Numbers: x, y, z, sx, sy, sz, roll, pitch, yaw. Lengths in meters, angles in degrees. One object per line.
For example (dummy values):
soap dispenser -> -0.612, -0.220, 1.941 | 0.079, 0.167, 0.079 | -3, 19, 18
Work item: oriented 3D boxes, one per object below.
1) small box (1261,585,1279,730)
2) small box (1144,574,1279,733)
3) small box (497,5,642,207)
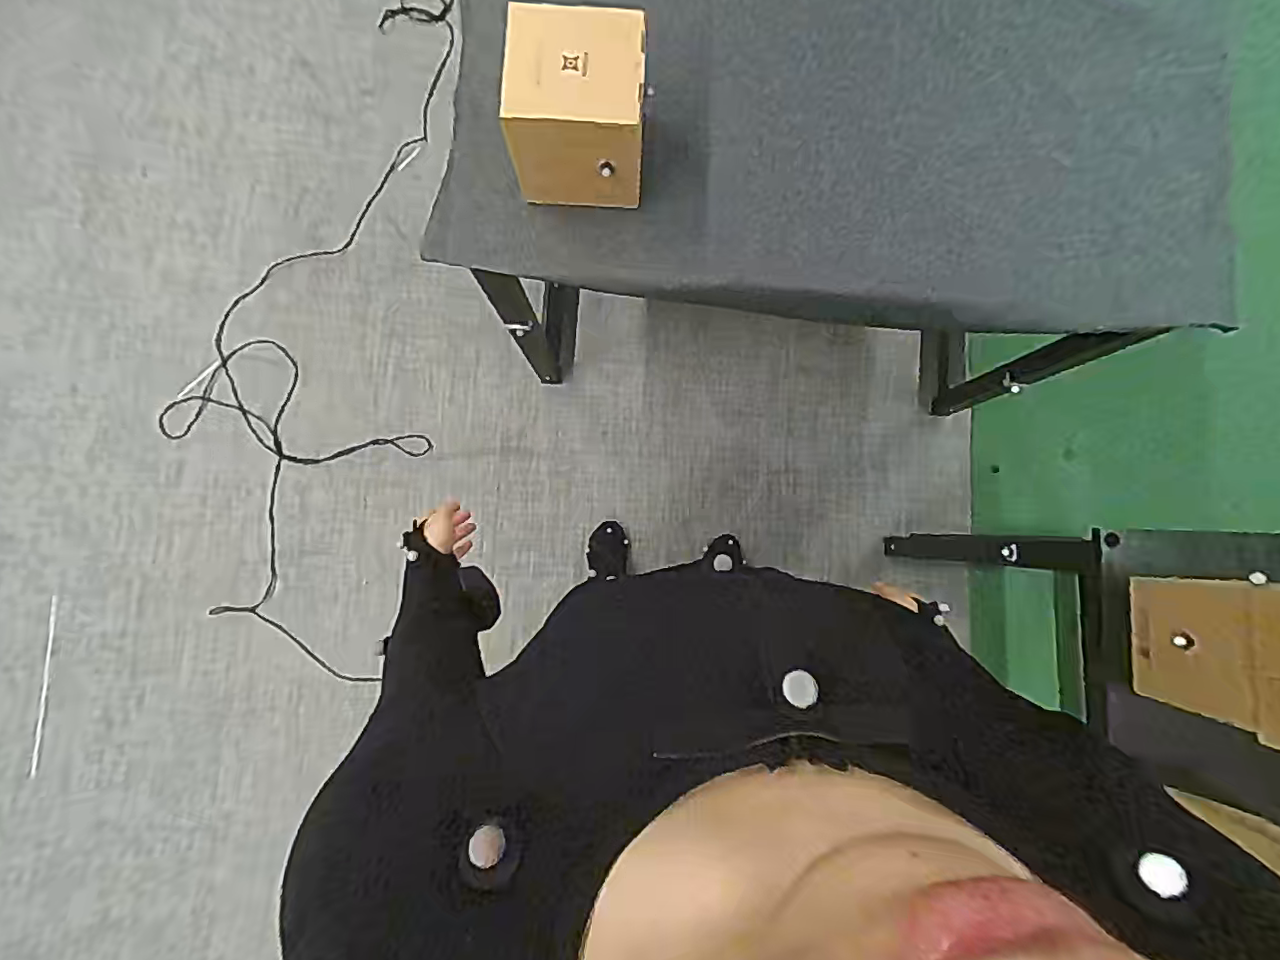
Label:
small box -> 0.772, 0.202, 0.519 | 0.168, 0.176, 0.179 | 2, 85, 1
small box -> 0.789, 0.211, 0.681 | 0.179, 0.176, 0.168 | 2, 86, 0
small box -> -0.088, -0.508, 0.756 | 0.179, 0.176, 0.168 | 2, 82, 1
